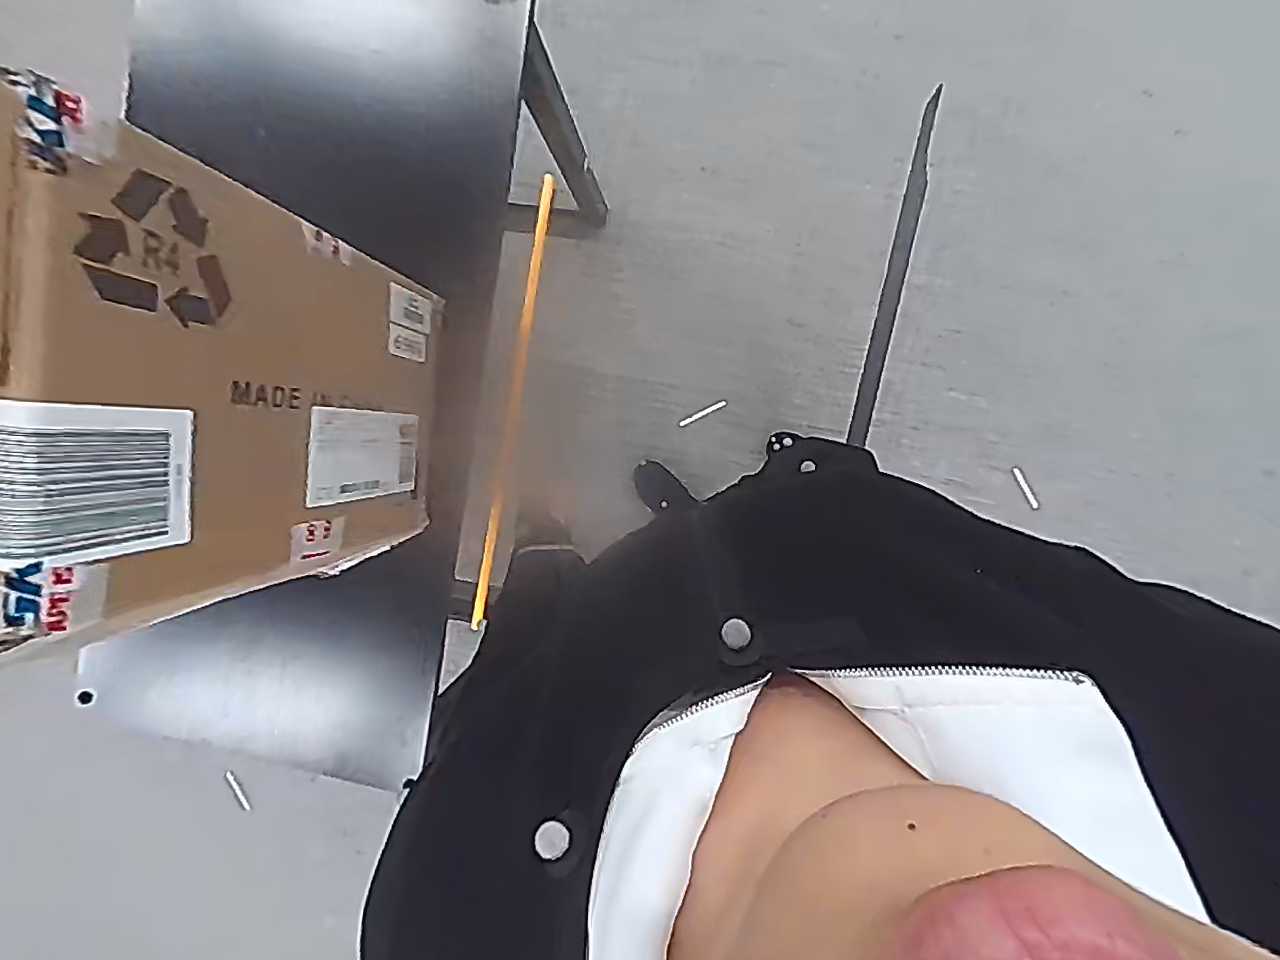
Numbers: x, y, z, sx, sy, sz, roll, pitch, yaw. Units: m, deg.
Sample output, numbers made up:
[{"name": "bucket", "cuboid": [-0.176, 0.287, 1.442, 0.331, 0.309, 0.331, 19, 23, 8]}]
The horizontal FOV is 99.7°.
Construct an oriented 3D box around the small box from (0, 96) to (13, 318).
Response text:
[{"name": "small box", "cuboid": [-0.448, -0.148, 0.238, 0.168, 0.176, 0.179, 7, 94, 4]}]
